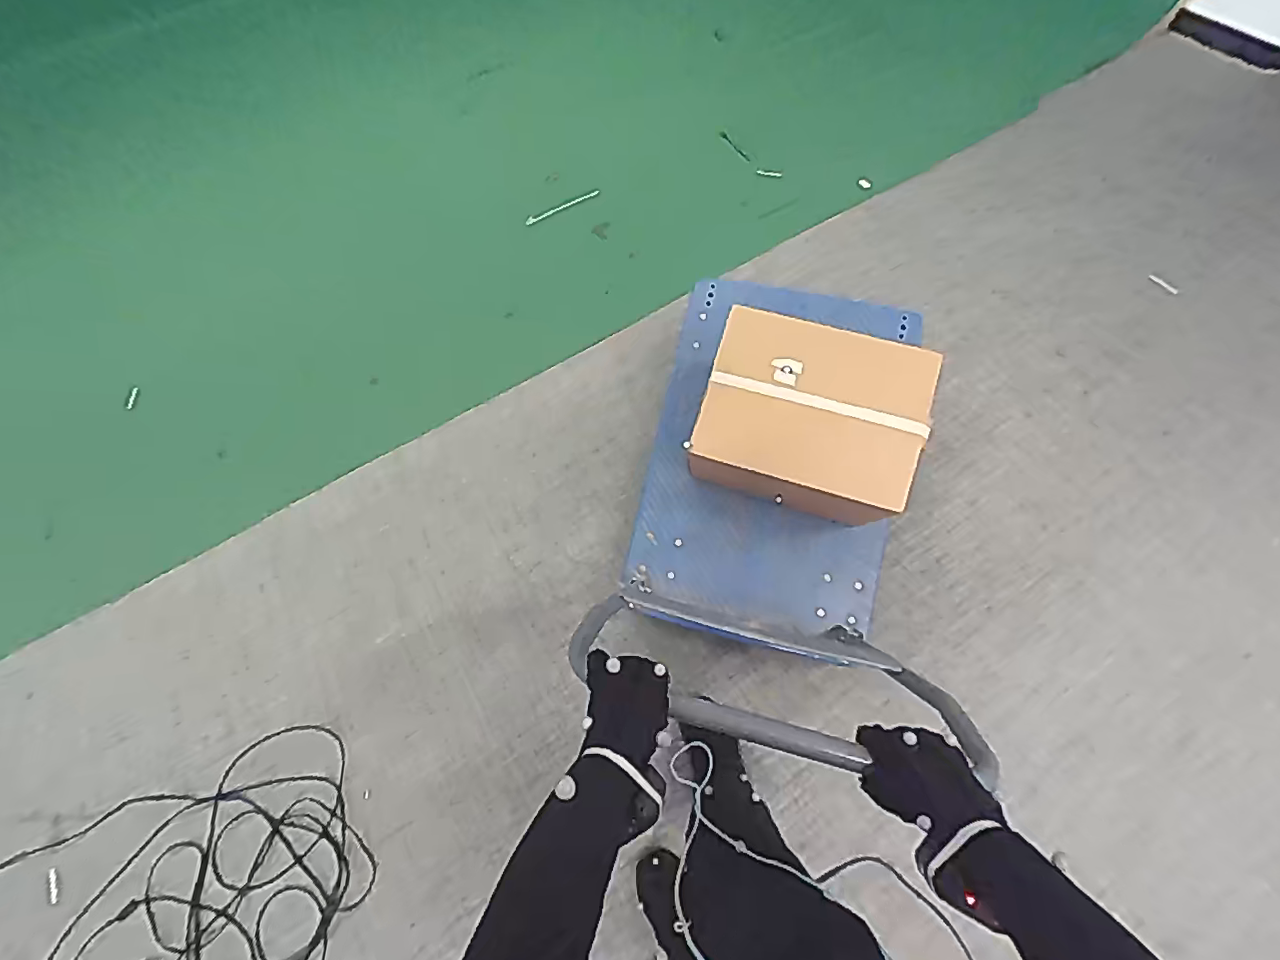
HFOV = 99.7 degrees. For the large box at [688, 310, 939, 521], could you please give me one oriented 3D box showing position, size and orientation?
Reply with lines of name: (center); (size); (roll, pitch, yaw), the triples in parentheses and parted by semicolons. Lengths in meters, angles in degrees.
large box: (0.345, -0.118, 1.160); (0.408, 0.320, 0.320); (17, 83, 10)
